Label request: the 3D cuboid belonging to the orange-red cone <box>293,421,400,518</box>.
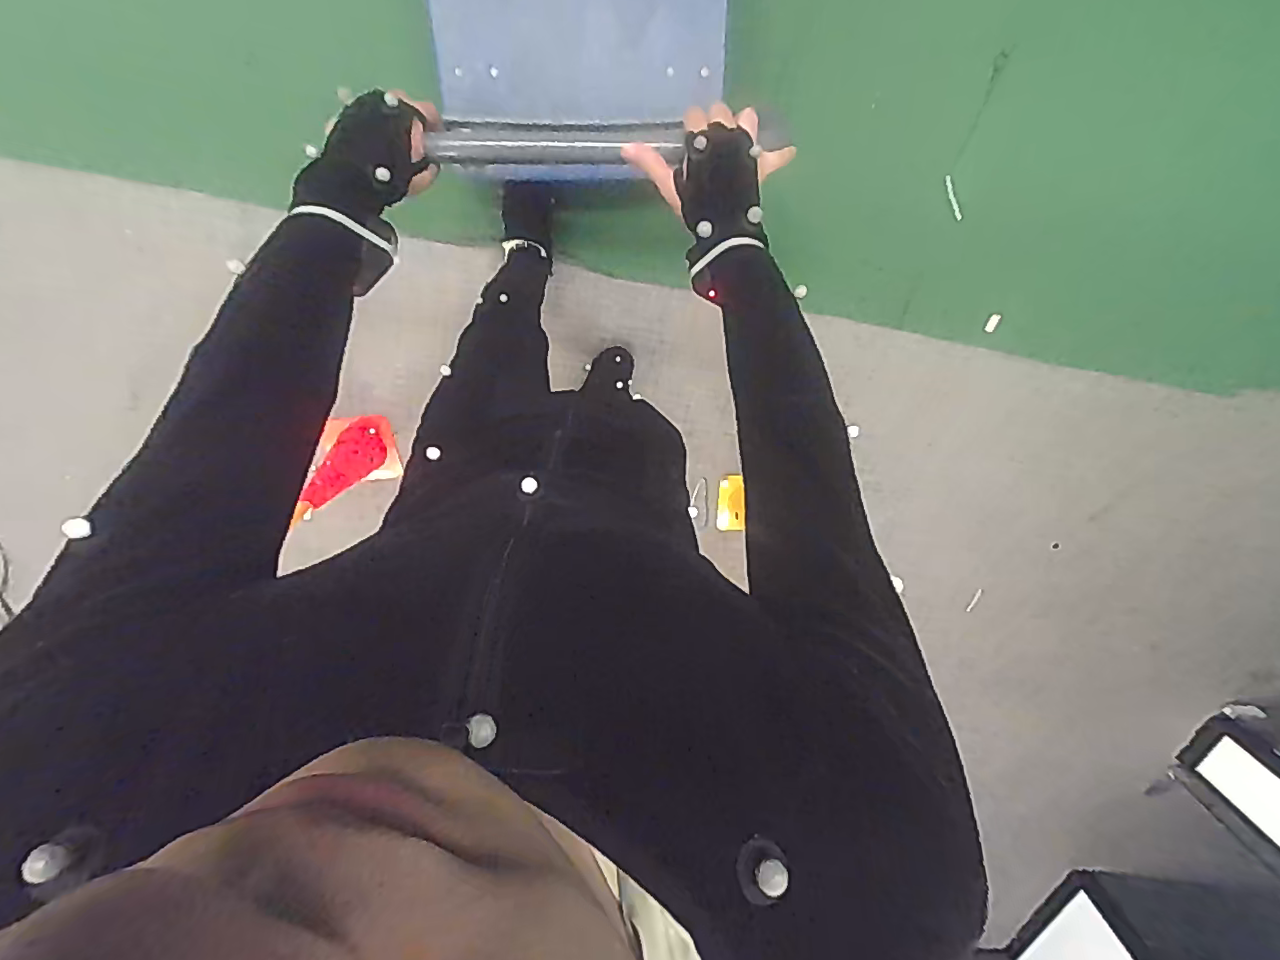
[{"bbox_3d":[-0.799,-0.001,1.412,0.199,0.360,0.198,-5,116,-1],"label":"orange-red cone"}]
